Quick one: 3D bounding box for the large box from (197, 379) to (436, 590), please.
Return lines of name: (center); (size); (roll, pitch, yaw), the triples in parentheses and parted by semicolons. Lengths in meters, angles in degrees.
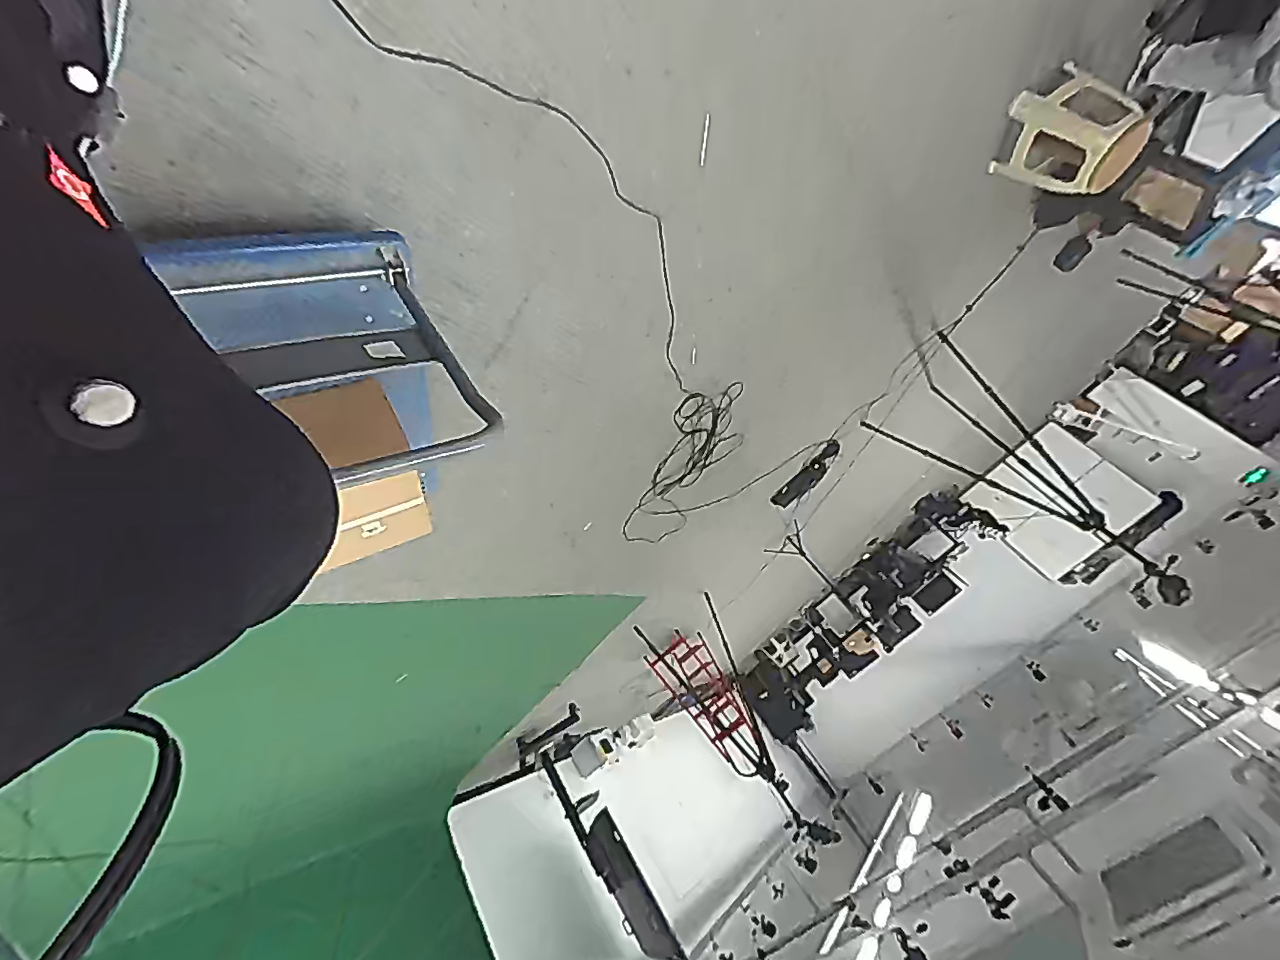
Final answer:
large box: (-0.786, -0.001, 1.355); (0.408, 0.320, 0.320); (-23, 148, -26)
